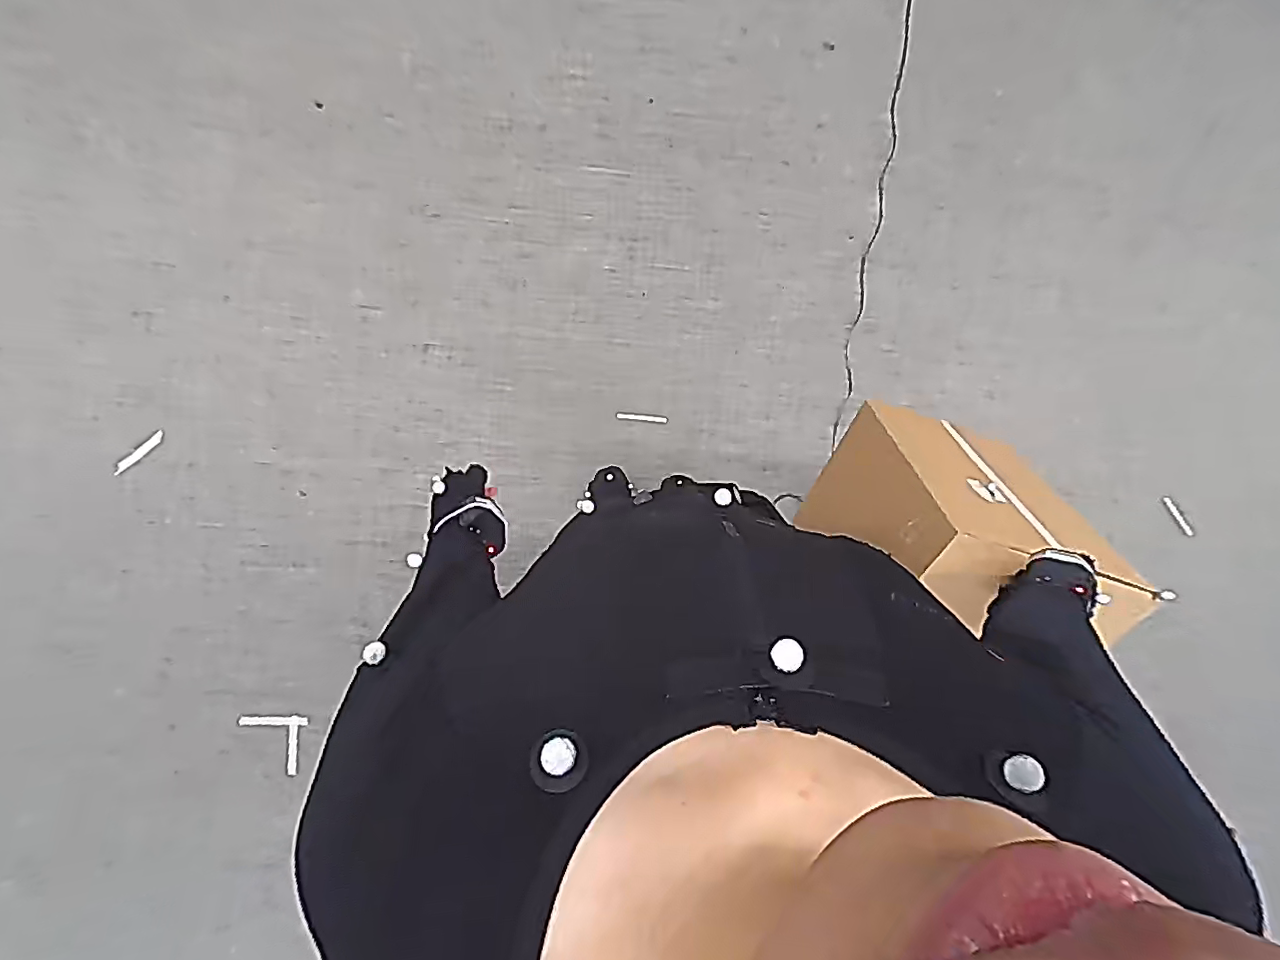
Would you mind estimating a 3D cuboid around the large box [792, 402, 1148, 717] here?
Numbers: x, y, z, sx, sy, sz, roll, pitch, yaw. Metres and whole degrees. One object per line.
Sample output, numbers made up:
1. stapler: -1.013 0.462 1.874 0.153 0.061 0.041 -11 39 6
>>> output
1. large box: 0.507 0.124 0.952 0.320 0.408 0.320 17 124 -7
